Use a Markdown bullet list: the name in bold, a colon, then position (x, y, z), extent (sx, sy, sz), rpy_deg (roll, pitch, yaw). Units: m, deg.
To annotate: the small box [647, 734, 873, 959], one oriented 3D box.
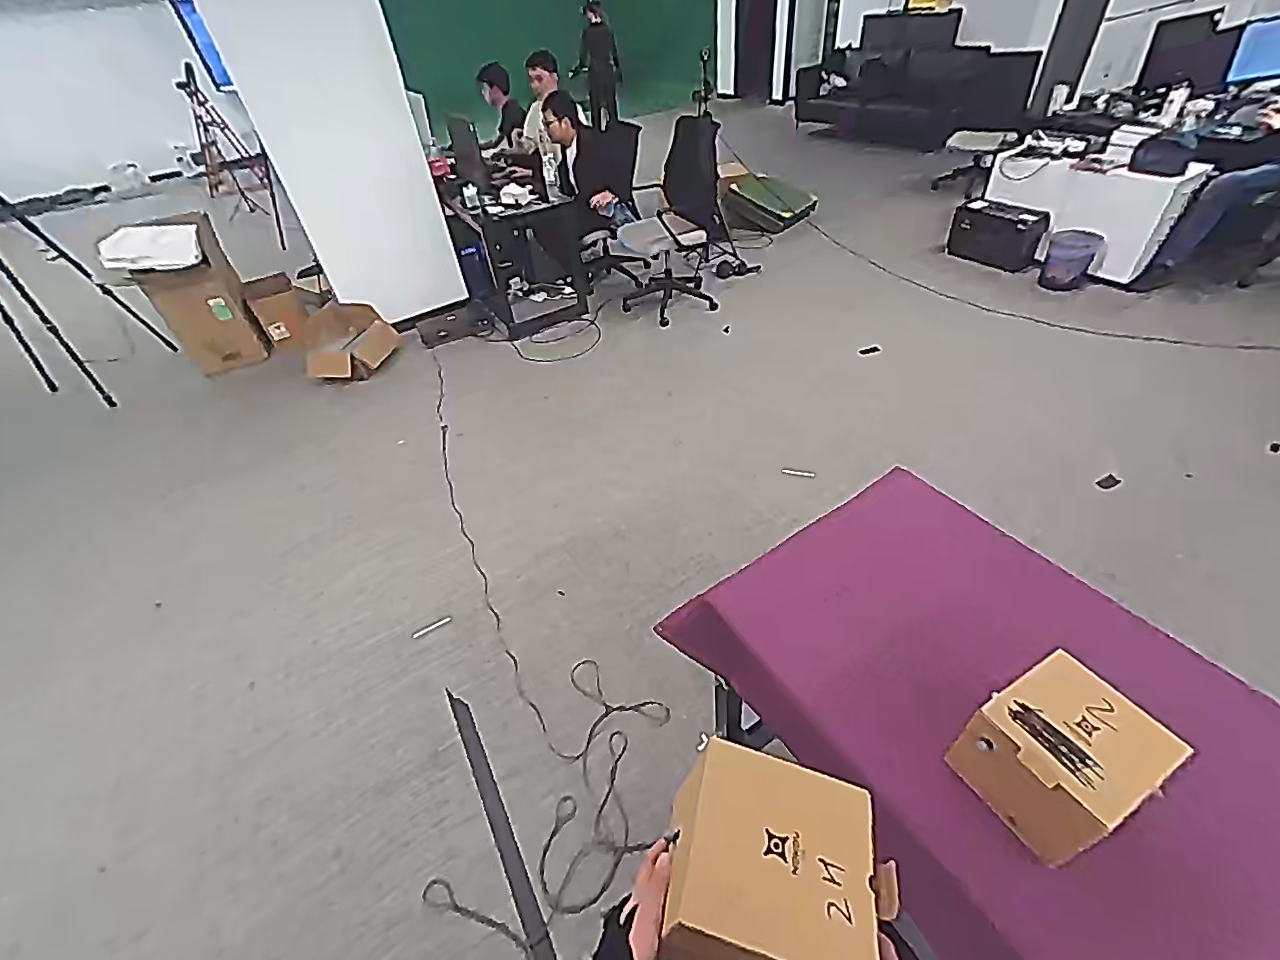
- **small box**: position (0.117, 0.403, 0.559), extent (0.179, 0.176, 0.168), rpy_deg (18, 41, 6)
